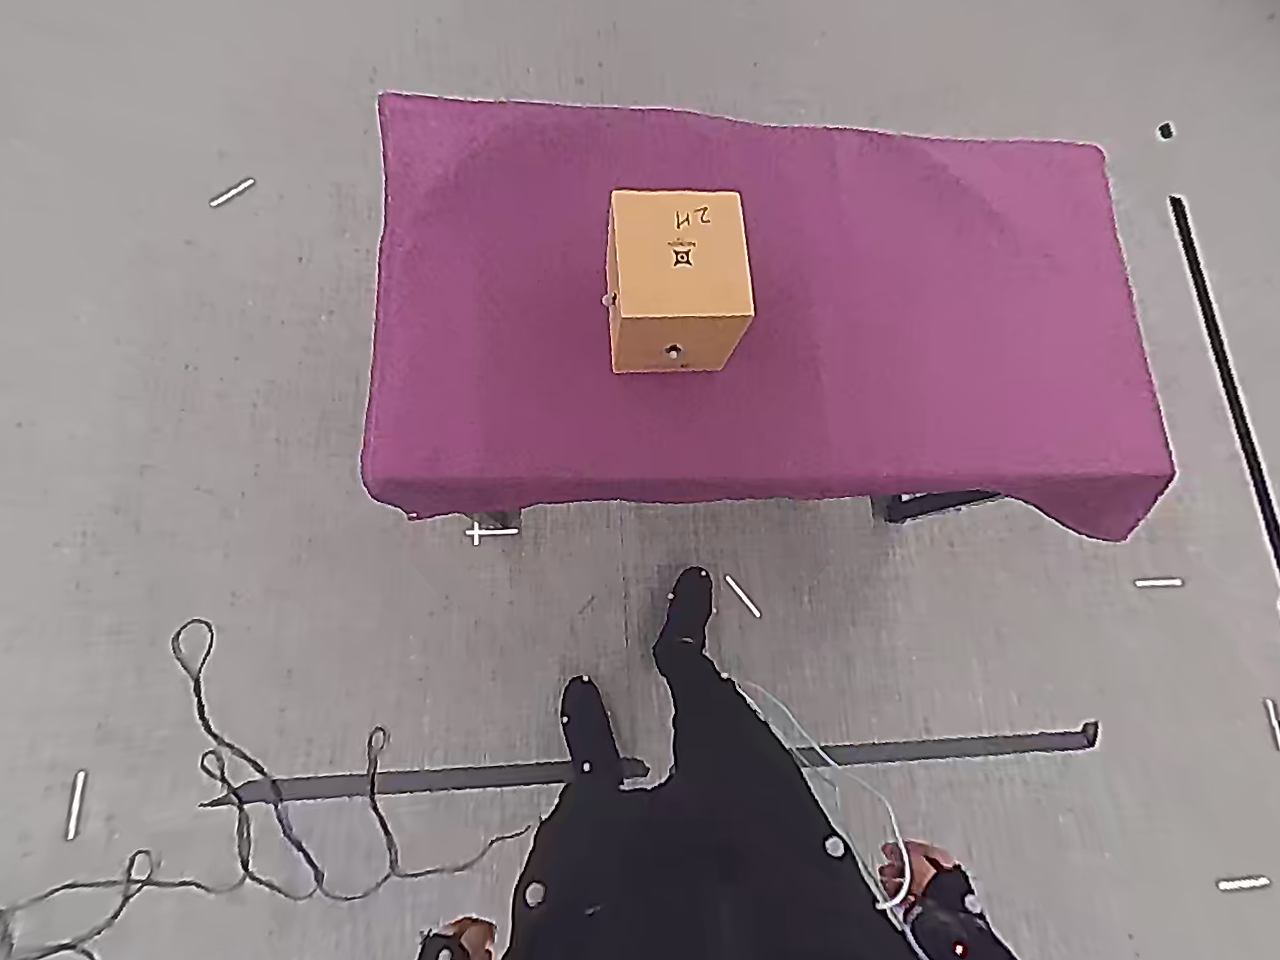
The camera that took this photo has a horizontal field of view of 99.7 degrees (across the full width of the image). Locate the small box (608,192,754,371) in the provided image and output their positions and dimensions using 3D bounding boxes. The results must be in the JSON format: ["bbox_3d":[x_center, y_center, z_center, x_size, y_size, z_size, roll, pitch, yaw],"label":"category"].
[{"bbox_3d":[0.045,-0.257,0.735,0.168,0.176,0.179,-2,78,-7],"label":"small box"}]
